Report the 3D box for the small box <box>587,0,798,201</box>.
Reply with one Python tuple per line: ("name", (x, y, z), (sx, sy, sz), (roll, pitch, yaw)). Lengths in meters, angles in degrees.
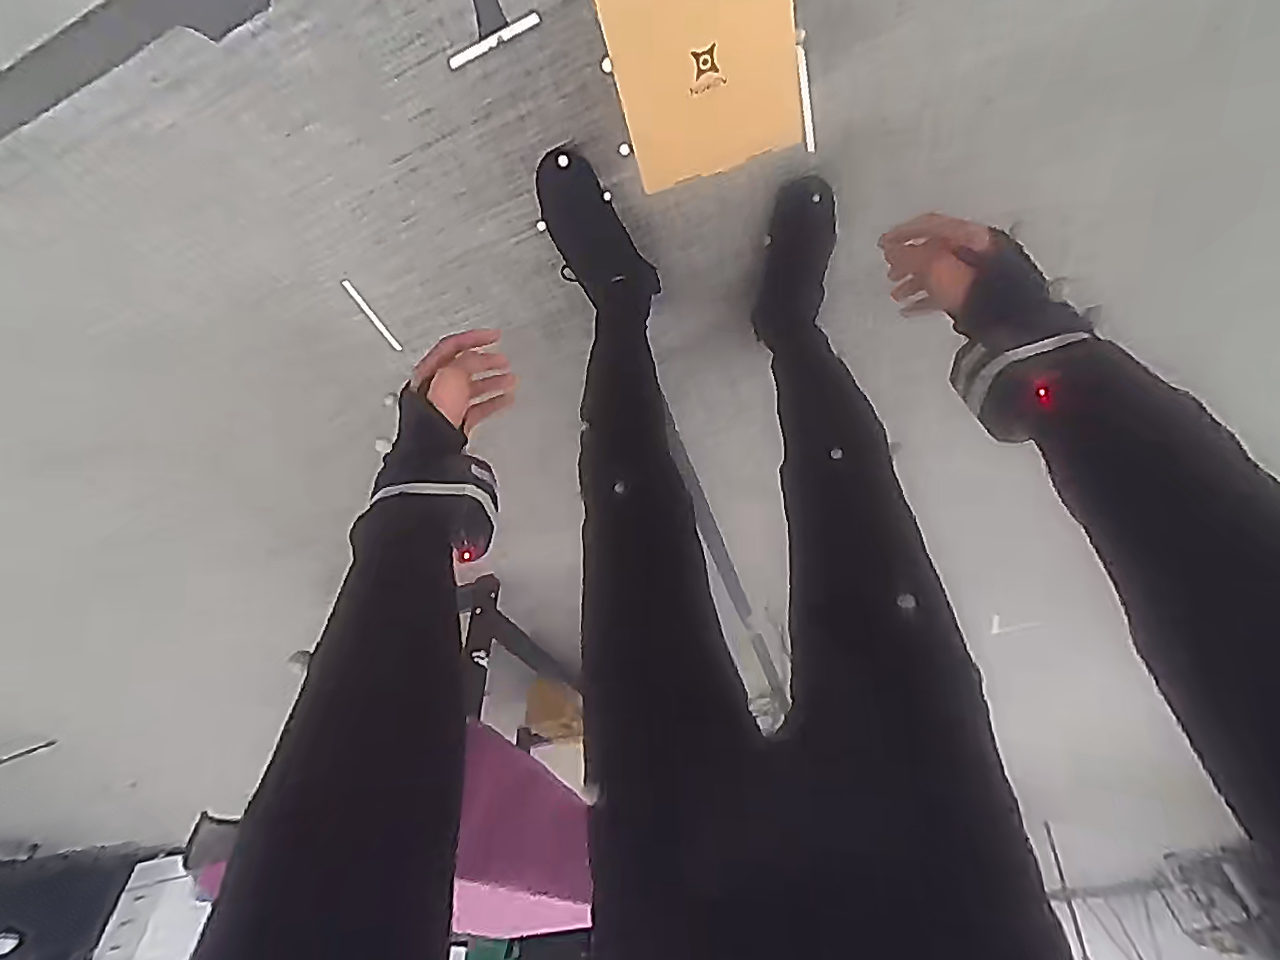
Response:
("small box", (0.049, -0.424, 0.547), (0.168, 0.176, 0.179), (-15, 136, 9))
